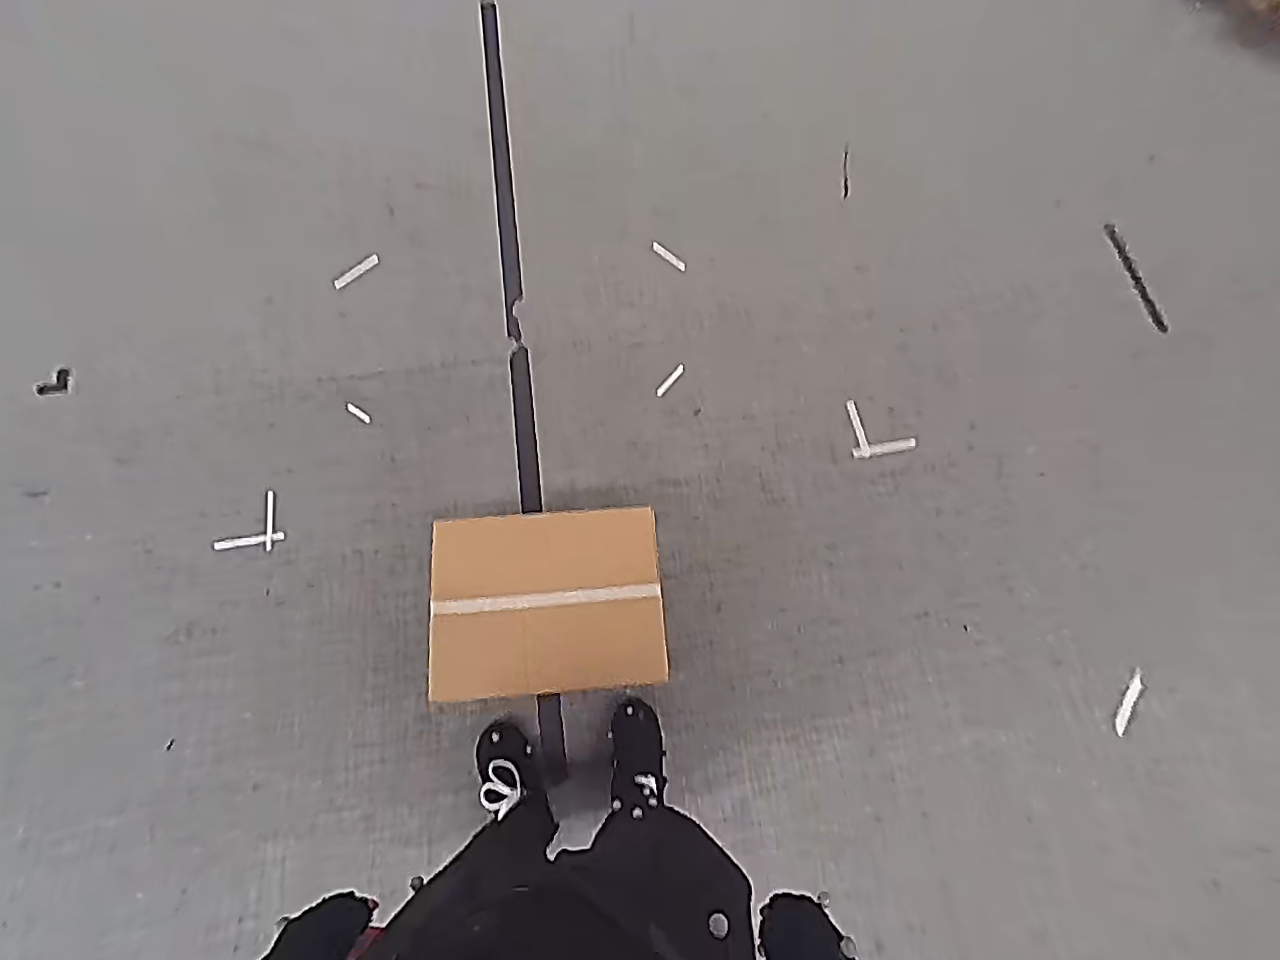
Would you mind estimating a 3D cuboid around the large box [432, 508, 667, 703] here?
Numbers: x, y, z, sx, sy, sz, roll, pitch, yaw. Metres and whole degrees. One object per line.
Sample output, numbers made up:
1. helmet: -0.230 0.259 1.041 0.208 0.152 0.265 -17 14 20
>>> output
1. large box: -0.171 0.255 1.101 0.408 0.320 0.320 -3 72 -5
